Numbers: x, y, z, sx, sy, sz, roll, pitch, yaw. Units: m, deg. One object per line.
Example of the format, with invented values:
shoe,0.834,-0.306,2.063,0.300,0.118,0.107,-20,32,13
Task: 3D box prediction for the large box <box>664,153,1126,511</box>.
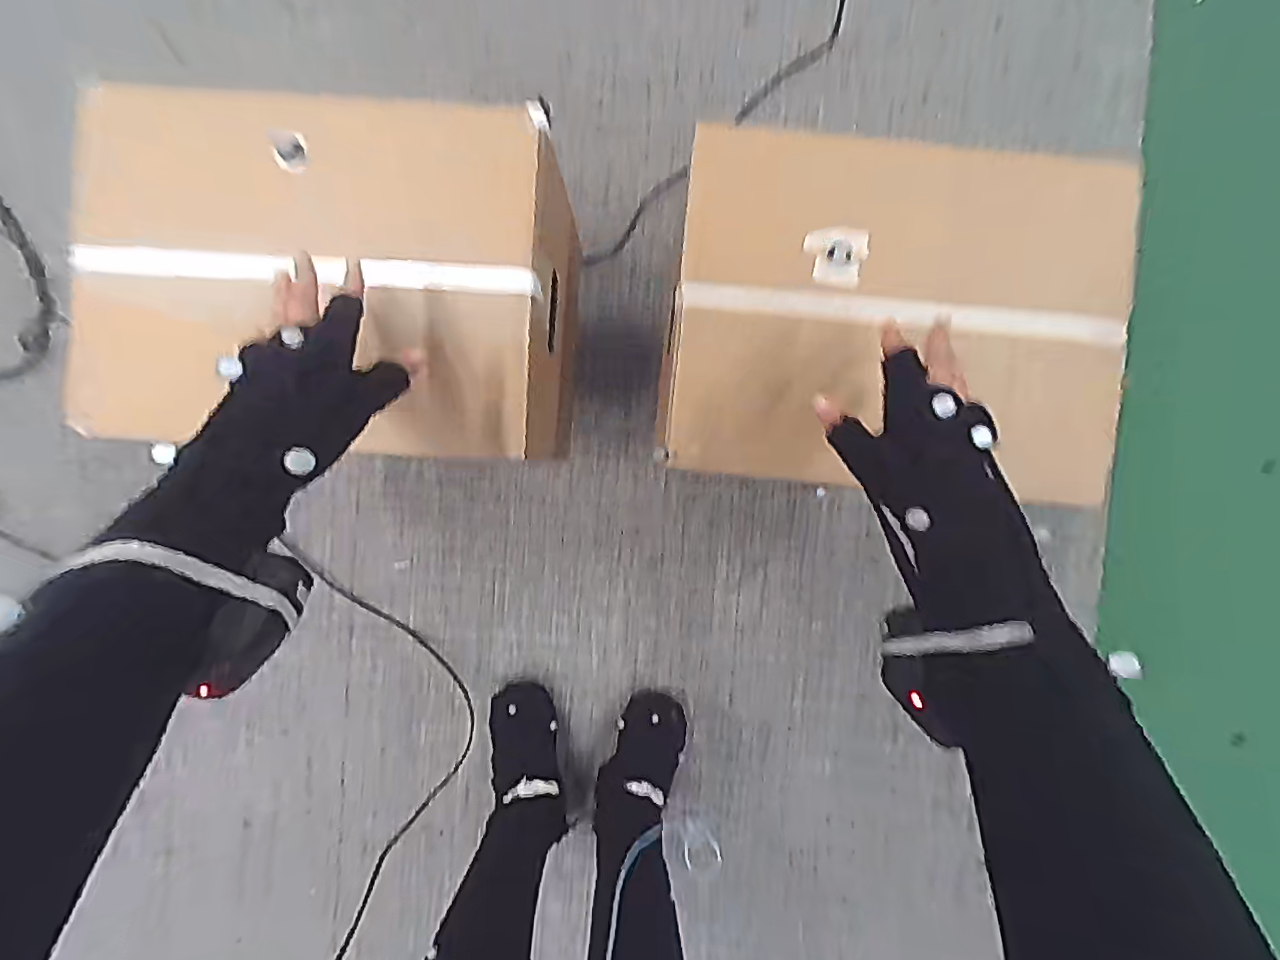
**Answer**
large box,0.247,-0.146,0.661,0.408,0.320,0.320,6,92,0
